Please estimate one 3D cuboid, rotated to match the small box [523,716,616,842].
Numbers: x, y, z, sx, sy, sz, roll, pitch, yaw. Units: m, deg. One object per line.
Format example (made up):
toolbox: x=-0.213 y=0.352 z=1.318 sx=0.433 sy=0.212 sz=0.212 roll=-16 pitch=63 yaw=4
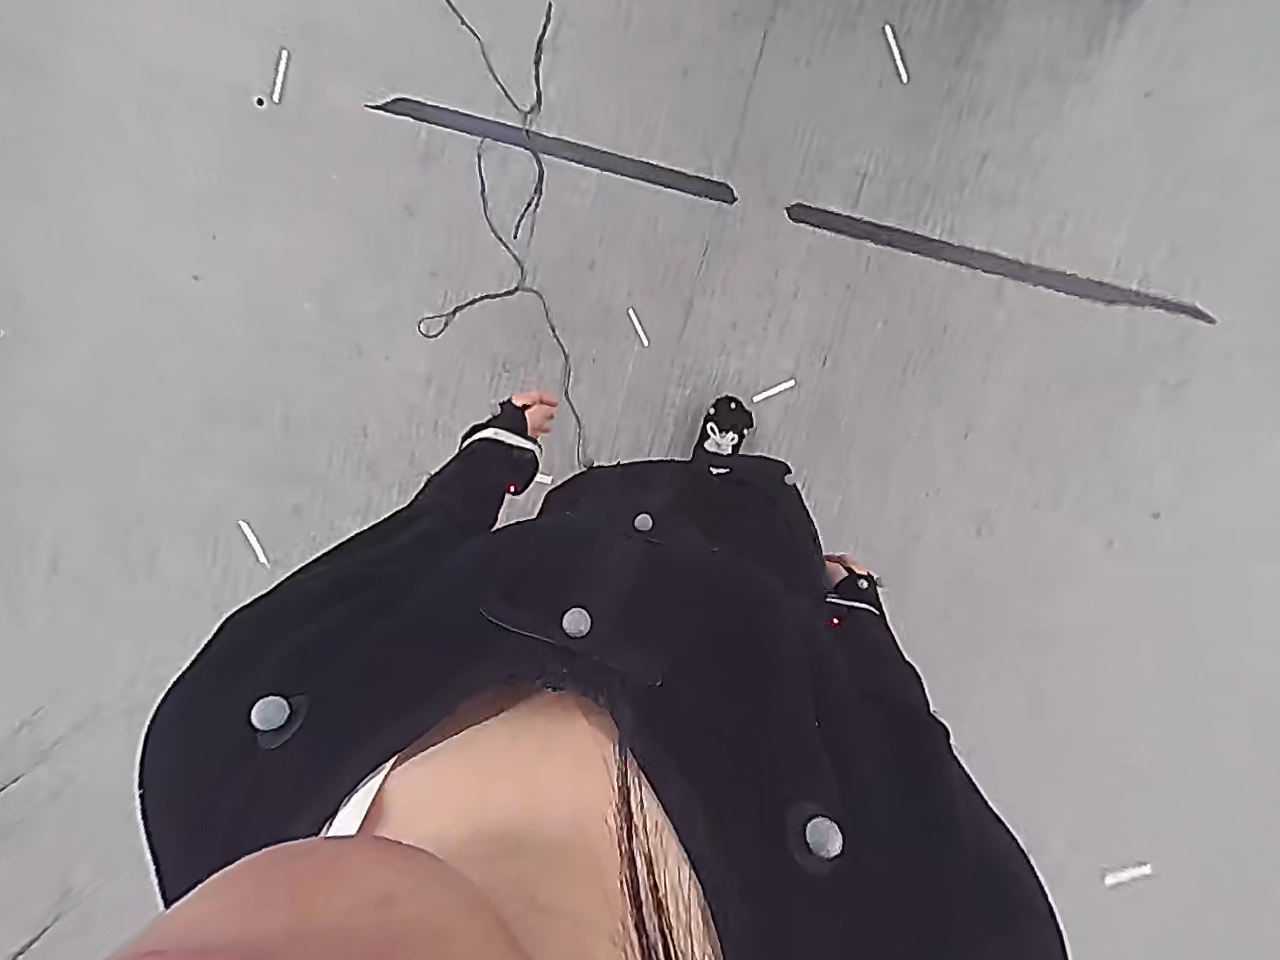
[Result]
small box: x=-0.159 y=0.695 z=1.271 sx=0.168 sy=0.176 sz=0.179 roll=12 pitch=96 yaw=4
